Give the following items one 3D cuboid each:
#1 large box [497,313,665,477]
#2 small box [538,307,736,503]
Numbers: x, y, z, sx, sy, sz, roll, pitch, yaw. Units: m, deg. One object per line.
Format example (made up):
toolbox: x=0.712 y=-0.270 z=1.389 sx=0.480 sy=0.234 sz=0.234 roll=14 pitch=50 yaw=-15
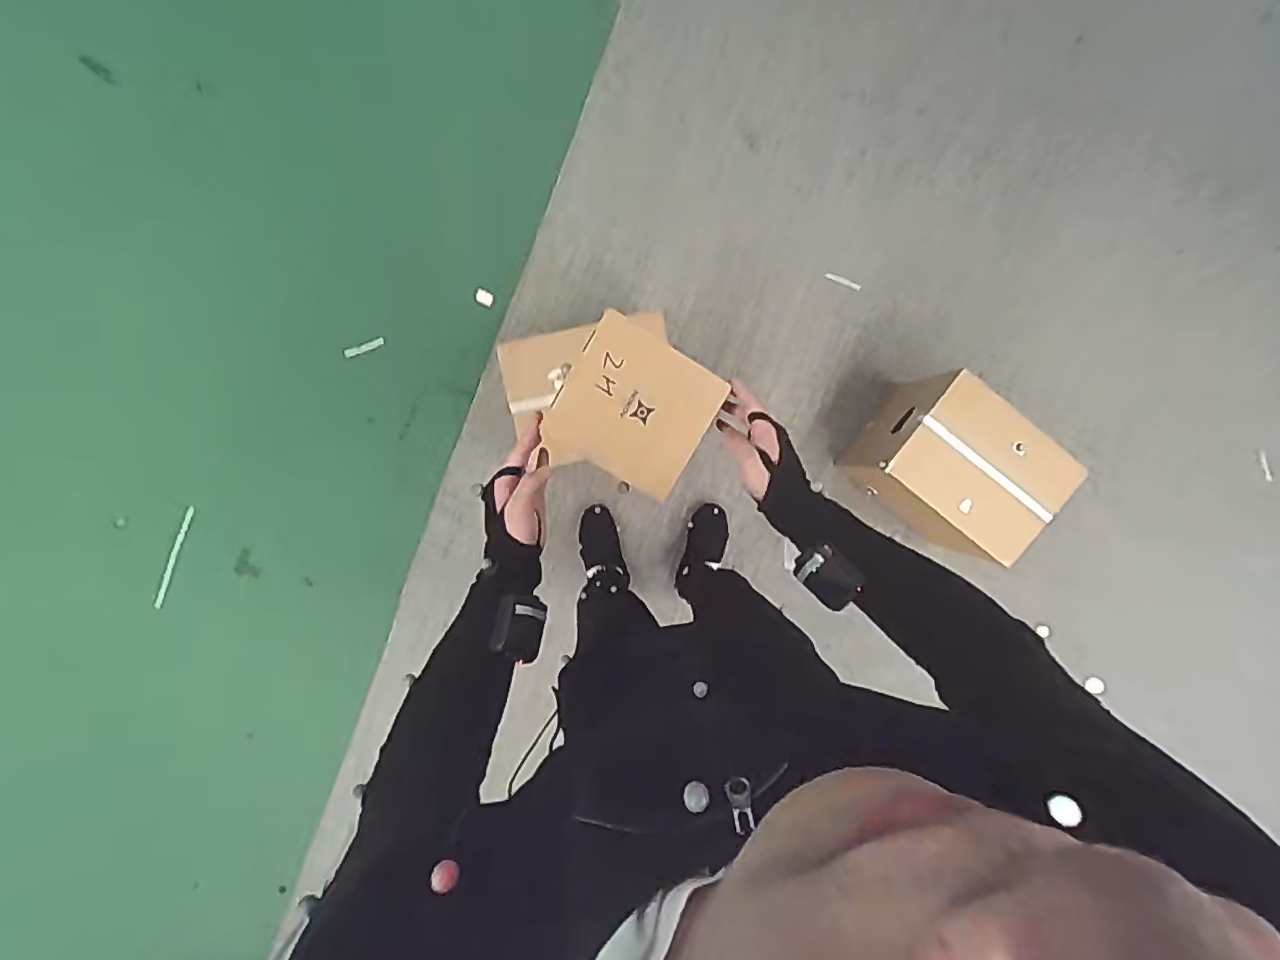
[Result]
large box: x=-0.111 y=-0.207 z=1.421 sx=0.408 sy=0.320 sz=0.320 roll=-13 pitch=91 yaw=0
small box: x=-0.010 y=-0.094 z=0.699 sx=0.179 sy=0.176 sz=0.168 roll=31 pitch=92 yaw=-9
